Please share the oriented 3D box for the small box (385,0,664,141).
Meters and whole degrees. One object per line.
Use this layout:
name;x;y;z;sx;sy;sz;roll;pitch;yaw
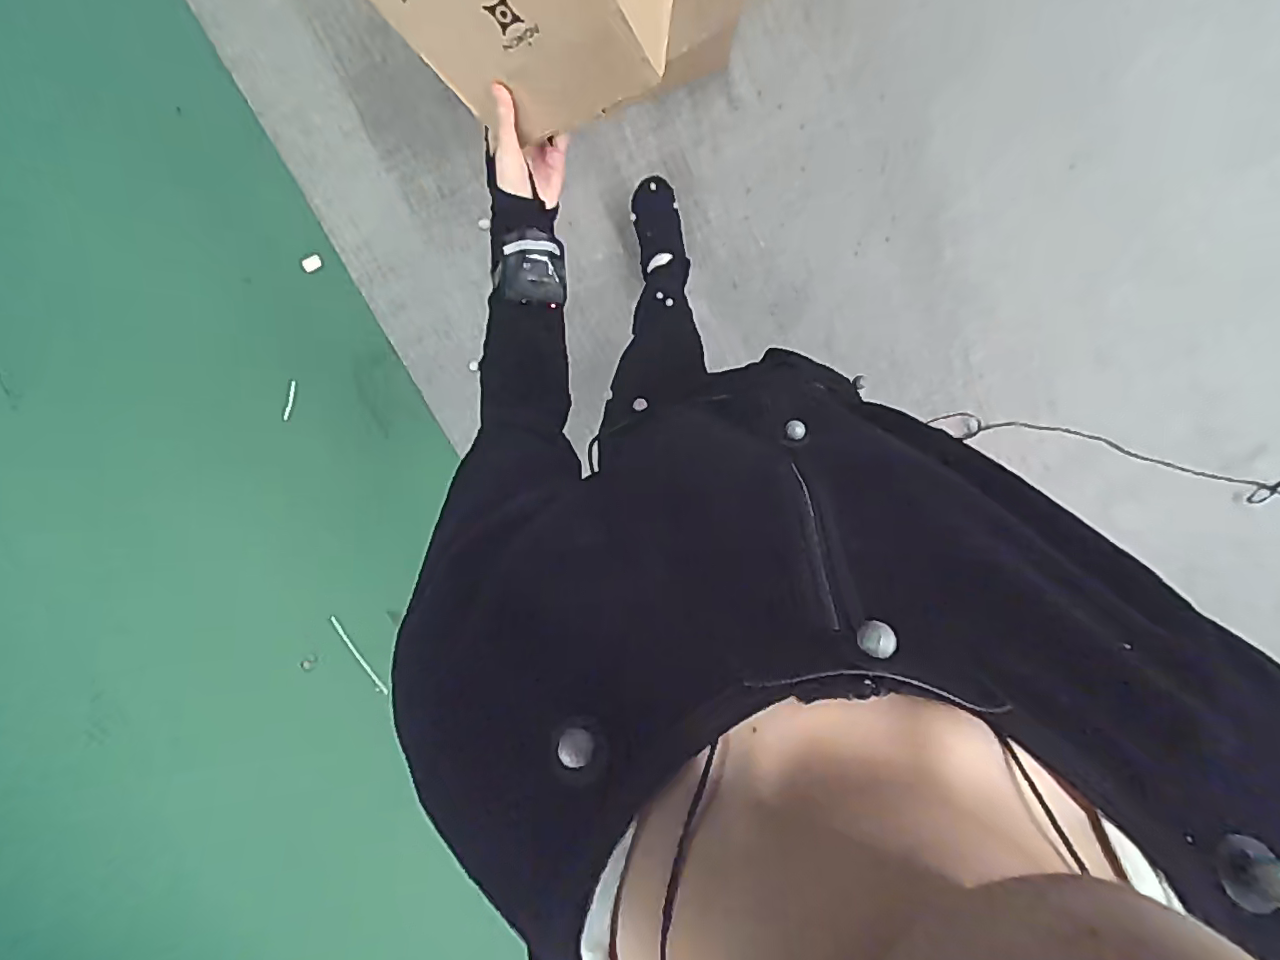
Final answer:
small box;-0.083;-0.421;0.417;0.168;0.179;0.176;-3;71;31
